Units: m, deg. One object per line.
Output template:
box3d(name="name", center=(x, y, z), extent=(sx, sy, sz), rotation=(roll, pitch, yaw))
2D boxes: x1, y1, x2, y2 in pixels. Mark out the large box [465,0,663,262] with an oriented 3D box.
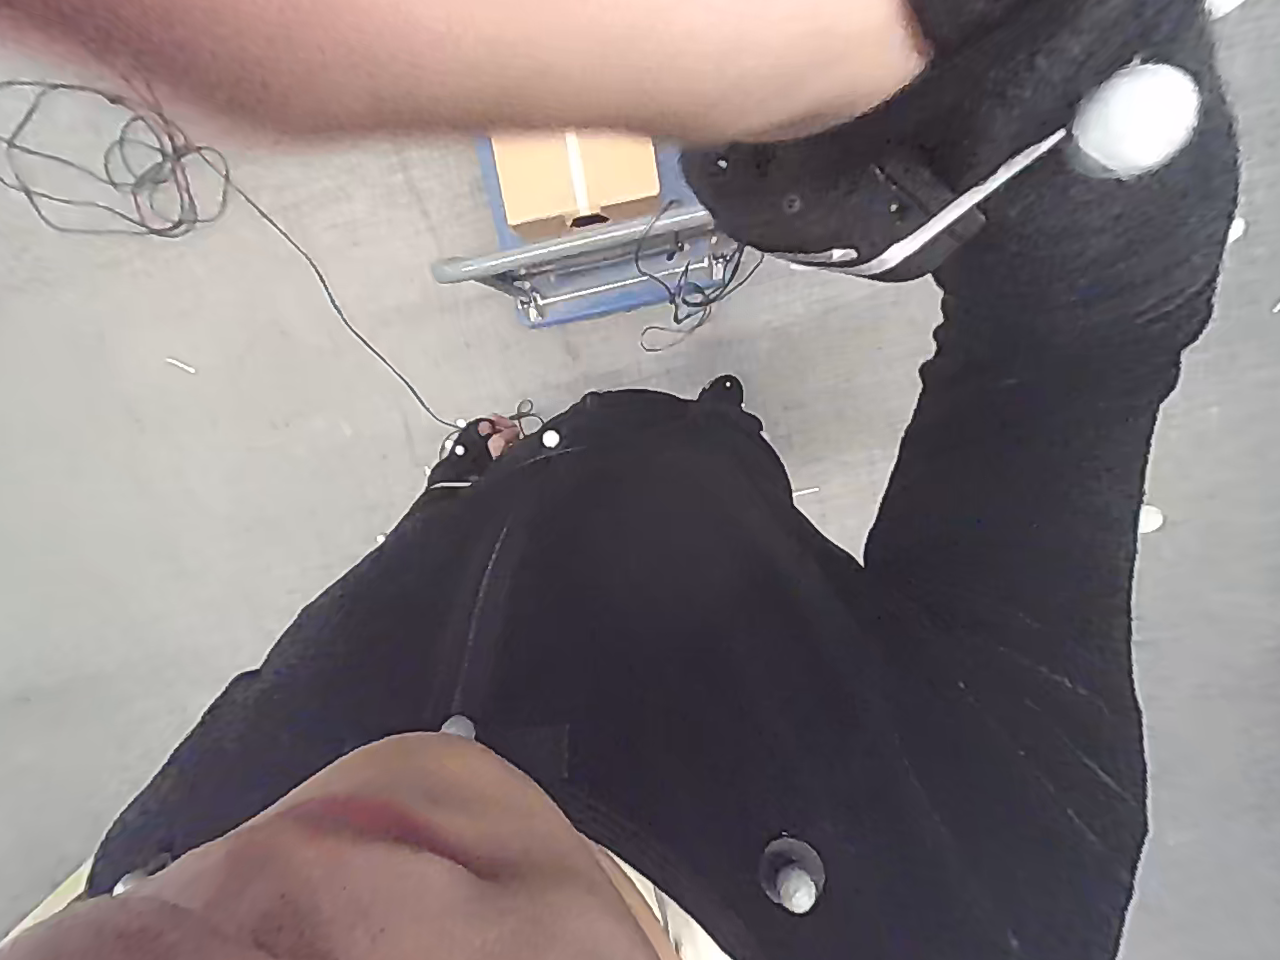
box3d(name="large box", center=(-0.136, -0.744, 1.180), extent=(0.320, 0.320, 0.408), rotation=(-9, 99, 4))
